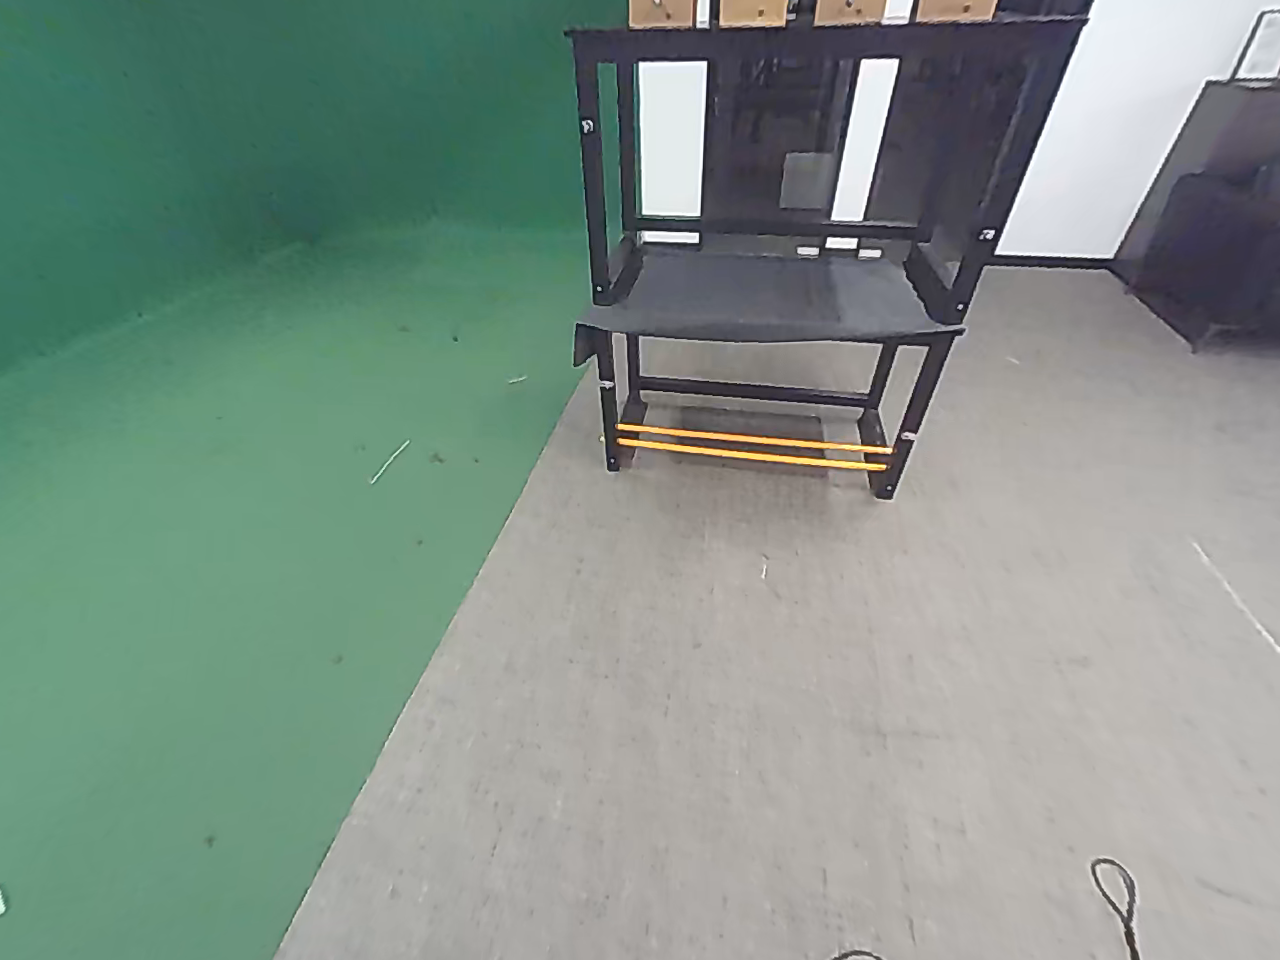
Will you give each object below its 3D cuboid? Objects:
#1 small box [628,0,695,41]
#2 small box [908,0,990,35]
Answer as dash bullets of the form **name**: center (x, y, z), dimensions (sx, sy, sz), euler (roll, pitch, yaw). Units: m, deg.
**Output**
- **small box**: center (0.059, -1.288, 1.442), dimensions (0.168, 0.176, 0.179), euler (5, 42, 7)
- **small box**: center (0.765, -1.197, 1.317), dimensions (0.168, 0.176, 0.179), euler (14, 43, 17)
